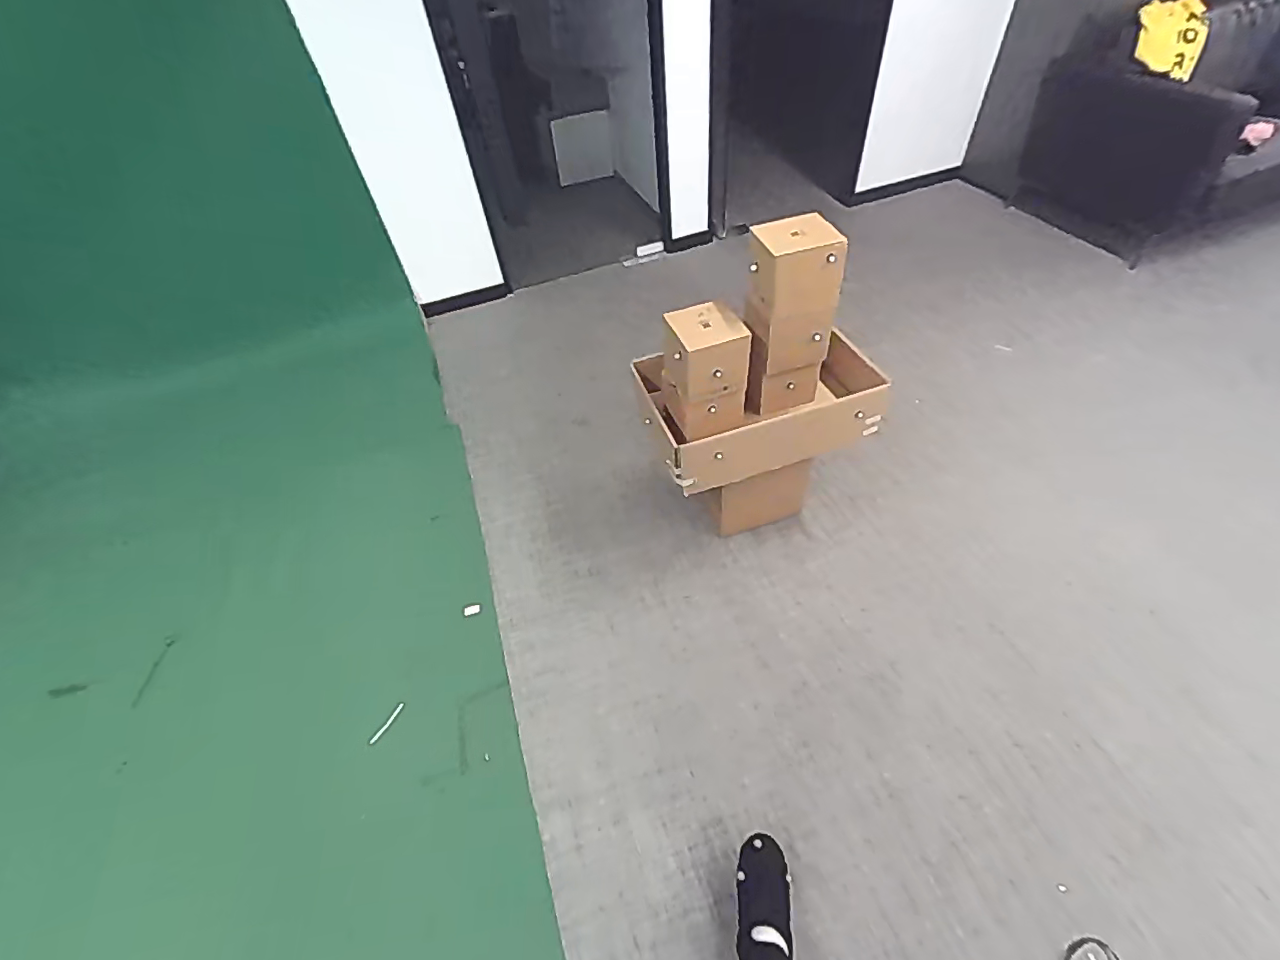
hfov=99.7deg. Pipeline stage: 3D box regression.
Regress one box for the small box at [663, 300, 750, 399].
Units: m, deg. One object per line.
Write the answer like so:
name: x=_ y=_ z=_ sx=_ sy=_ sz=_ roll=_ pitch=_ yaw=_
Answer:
small box: x=0.166 y=-0.324 z=1.377 sx=0.168 sy=0.176 sz=0.179 roll=-17 pitch=50 yaw=-9

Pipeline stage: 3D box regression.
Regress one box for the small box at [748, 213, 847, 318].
small box: x=0.371 y=-0.515 z=1.307 sx=0.179 sy=0.176 sz=0.168 roll=-14 pitch=48 yaw=-4
